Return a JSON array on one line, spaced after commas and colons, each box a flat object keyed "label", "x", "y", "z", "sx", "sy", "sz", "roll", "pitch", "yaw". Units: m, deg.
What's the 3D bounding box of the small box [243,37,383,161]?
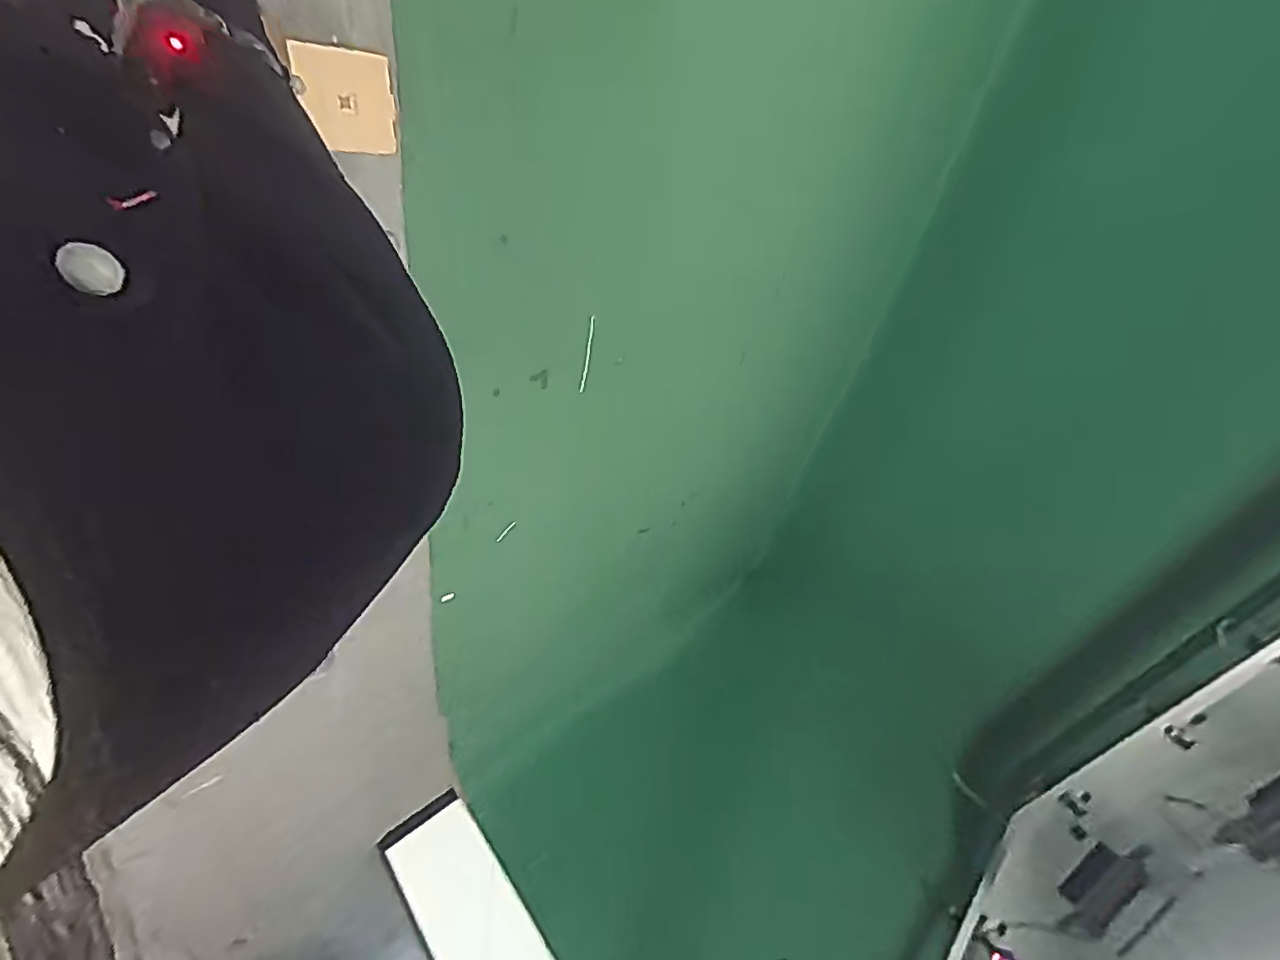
[{"label": "small box", "x": -0.628, "y": -0.736, "z": 1.048, "sx": 0.179, "sy": 0.176, "sz": 0.168, "roll": -22, "pitch": 138, "yaw": -38}]
